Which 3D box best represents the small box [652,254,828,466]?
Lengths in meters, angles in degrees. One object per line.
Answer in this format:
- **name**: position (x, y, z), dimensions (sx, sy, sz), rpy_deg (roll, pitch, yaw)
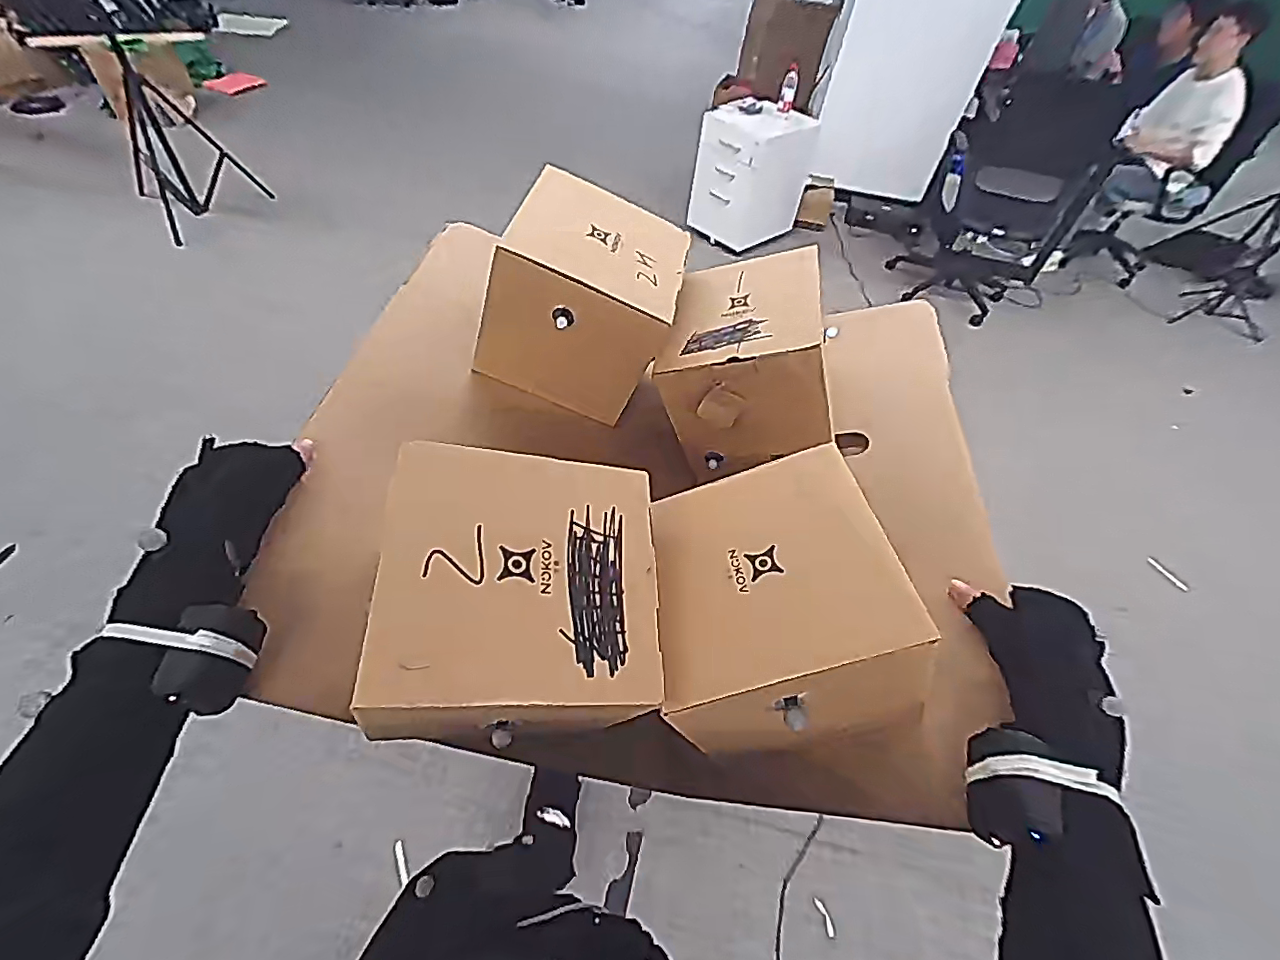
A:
- **small box**: position (0.129, -0.129, 0.637), dimensions (0.168, 0.176, 0.179), rpy_deg (-4, 49, 22)
